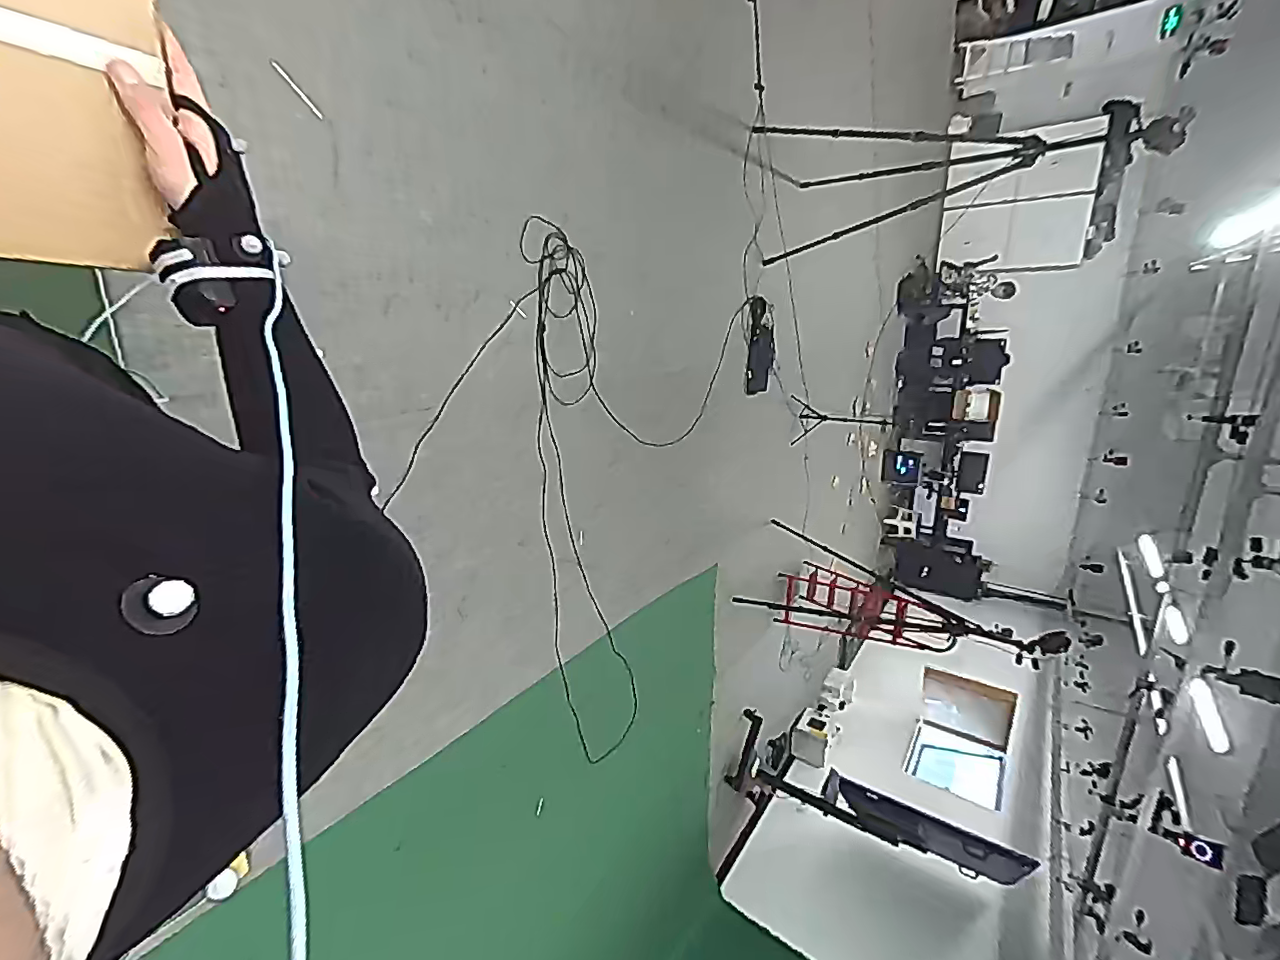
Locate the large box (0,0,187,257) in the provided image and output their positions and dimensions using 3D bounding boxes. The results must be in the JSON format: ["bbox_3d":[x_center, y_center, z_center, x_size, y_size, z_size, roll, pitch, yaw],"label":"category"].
[{"bbox_3d":[-0.642,-0.356,0.389,0.408,0.320,0.320,-15,120,-49],"label":"large box"}]
